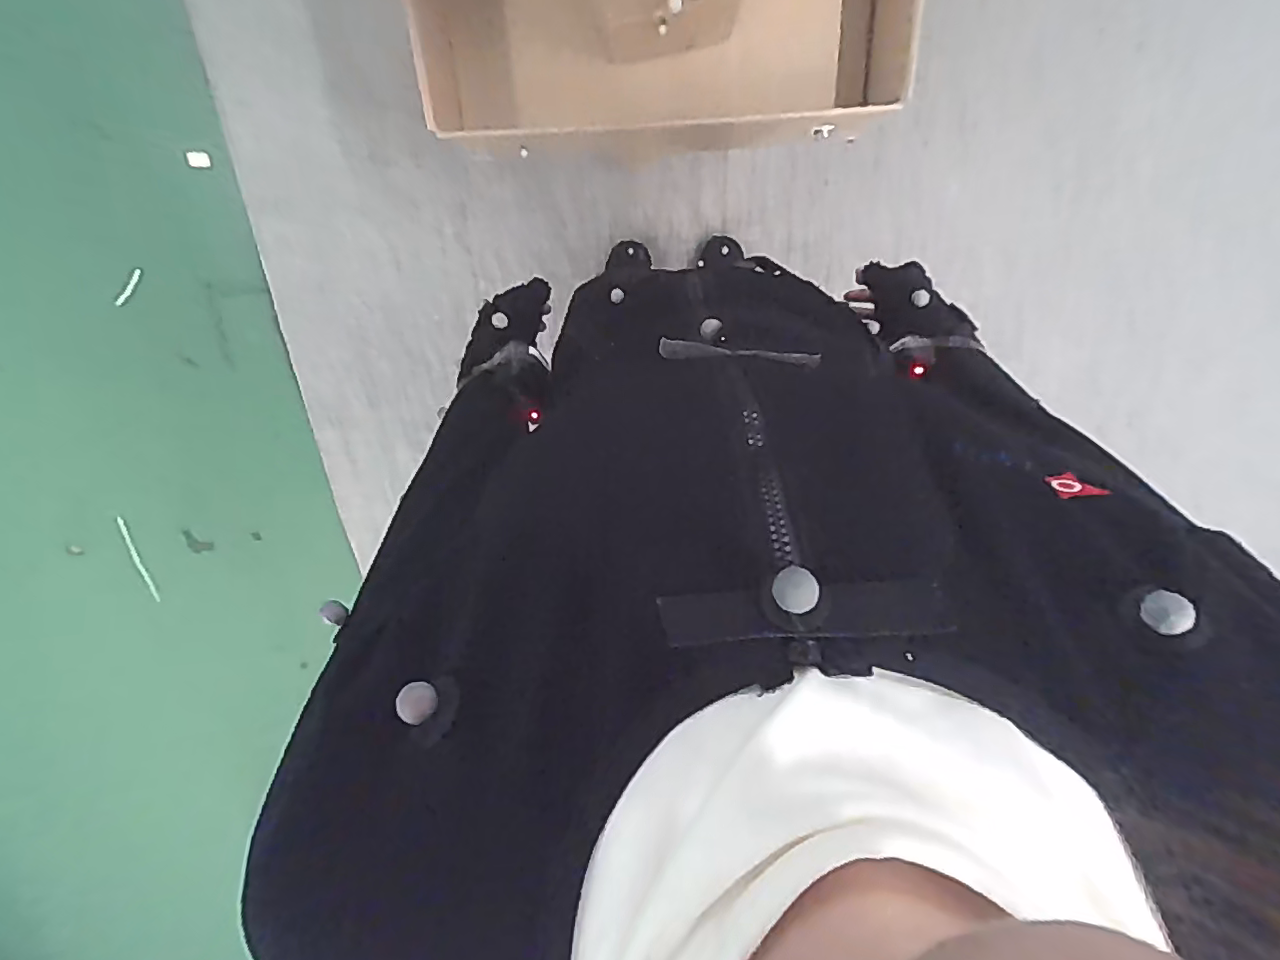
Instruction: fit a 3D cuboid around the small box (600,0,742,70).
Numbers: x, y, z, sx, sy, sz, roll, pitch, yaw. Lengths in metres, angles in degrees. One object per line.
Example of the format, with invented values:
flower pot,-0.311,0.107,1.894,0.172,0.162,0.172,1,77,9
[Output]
small box,0.028,-0.649,0.667,0.168,0.176,0.179,-8,113,6
